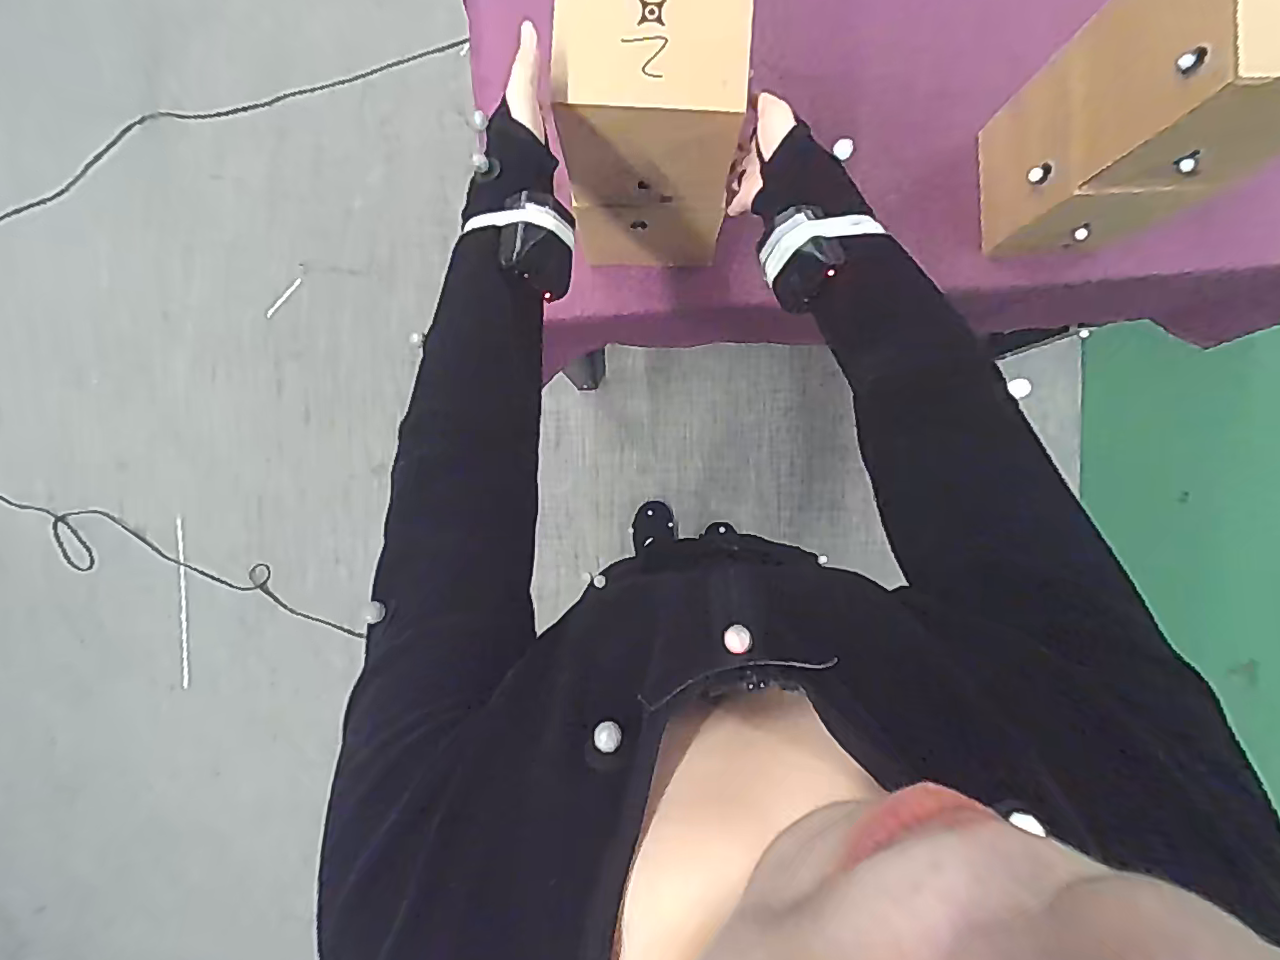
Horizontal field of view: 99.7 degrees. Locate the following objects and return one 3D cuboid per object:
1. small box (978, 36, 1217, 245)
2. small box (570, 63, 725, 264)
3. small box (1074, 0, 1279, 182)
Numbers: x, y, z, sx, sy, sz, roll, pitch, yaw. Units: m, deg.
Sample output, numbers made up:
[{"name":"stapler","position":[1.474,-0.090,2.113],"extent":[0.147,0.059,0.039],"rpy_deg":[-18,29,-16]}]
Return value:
[{"name":"small box","position":[0.556,-0.411,0.681],"extent":[0.168,0.176,0.179],"rpy_deg":[-3,90,1]},{"name":"small box","position":[0.010,-0.388,0.690],"extent":[0.179,0.176,0.168],"rpy_deg":[0,91,0]},{"name":"small box","position":[0.558,-0.417,0.517],"extent":[0.168,0.176,0.179],"rpy_deg":[-2,92,1]}]
